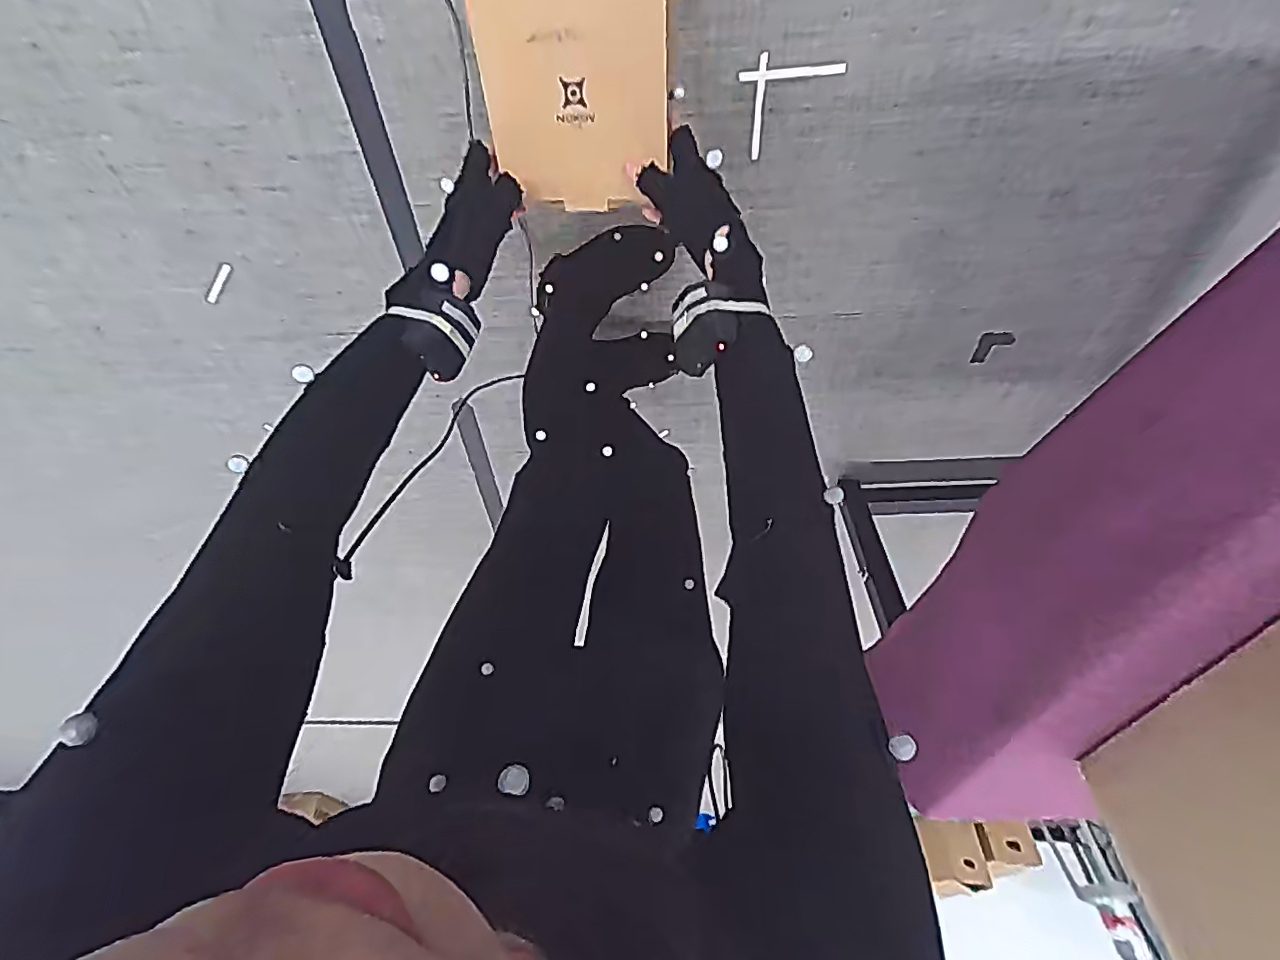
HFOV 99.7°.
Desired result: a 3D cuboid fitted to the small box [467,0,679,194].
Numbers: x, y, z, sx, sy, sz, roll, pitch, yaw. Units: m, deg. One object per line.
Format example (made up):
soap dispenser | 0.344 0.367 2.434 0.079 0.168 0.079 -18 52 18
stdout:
small box | -0.048 -0.398 0.522 0.168 0.176 0.179 1 134 6
